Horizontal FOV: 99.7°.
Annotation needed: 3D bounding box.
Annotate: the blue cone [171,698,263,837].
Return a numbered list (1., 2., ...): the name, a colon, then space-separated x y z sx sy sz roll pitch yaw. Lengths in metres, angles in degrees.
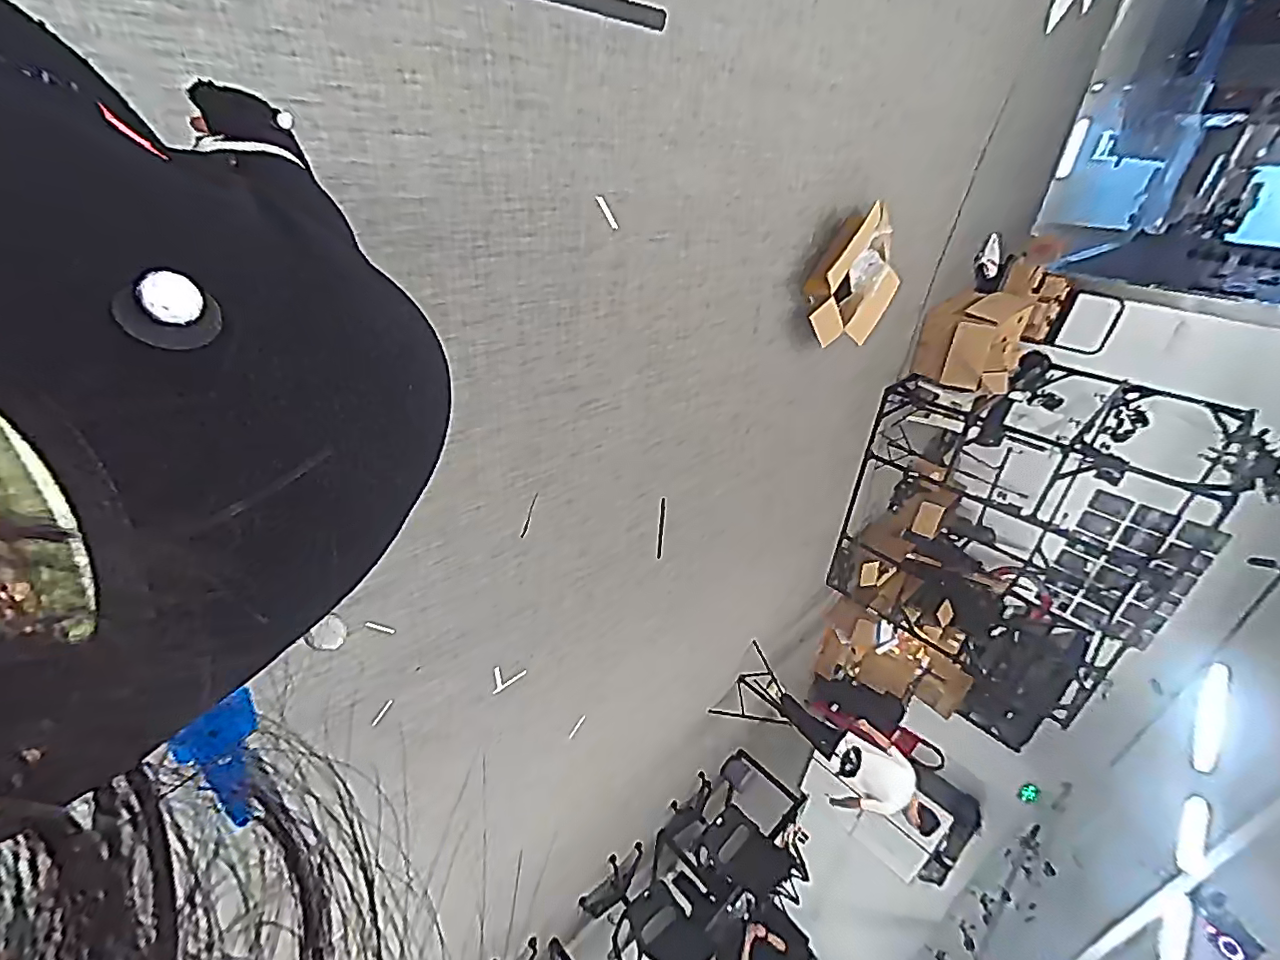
1. blue cone: -1.094 0.799 1.455 0.193 0.380 0.192 -21 129 -39
